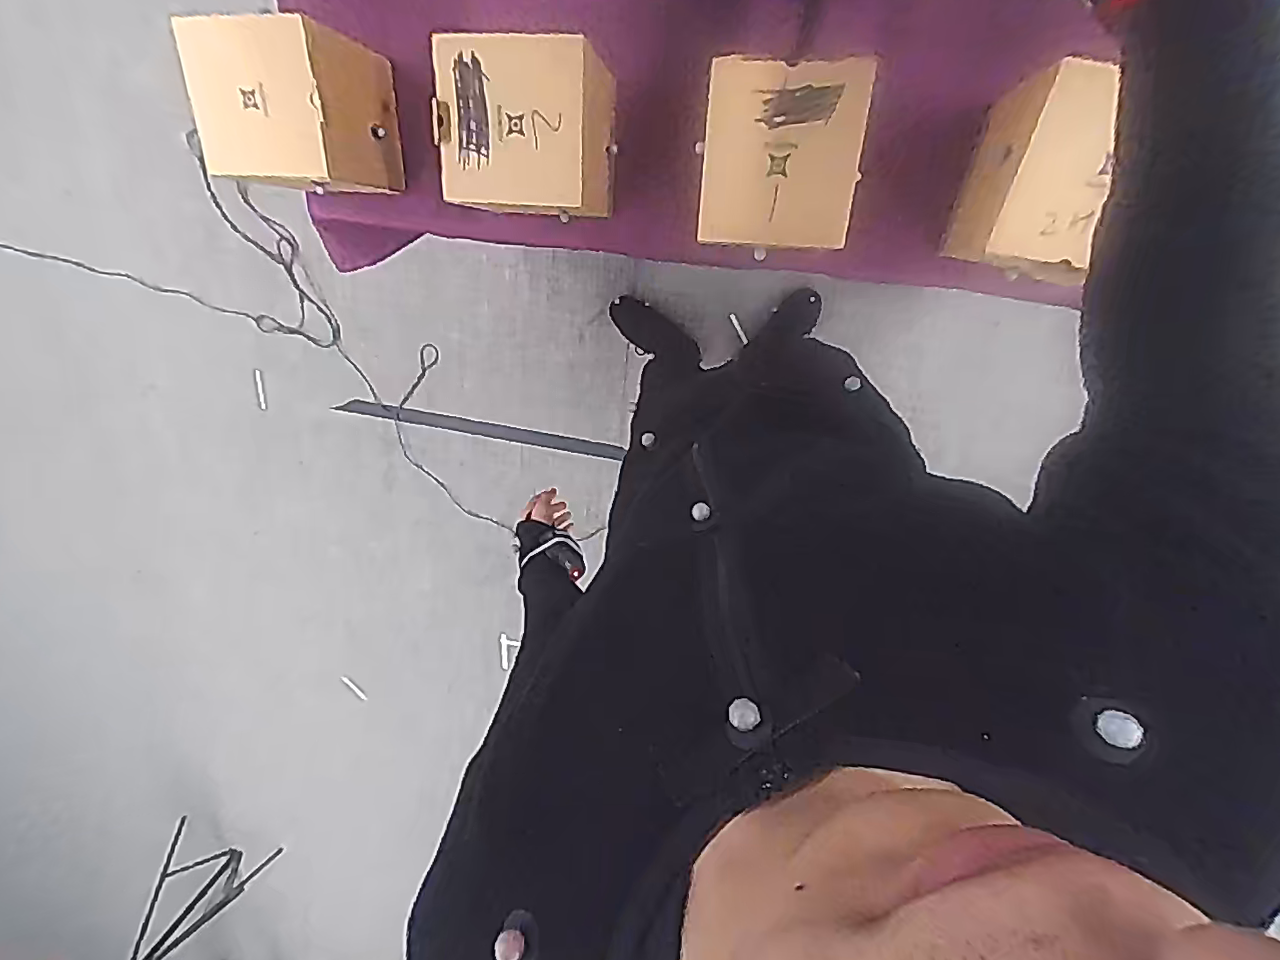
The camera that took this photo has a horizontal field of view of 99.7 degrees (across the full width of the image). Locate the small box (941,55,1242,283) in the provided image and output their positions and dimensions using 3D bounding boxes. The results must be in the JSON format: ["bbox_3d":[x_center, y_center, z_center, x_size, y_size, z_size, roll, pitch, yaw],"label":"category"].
[{"bbox_3d":[0.470,-0.330,0.605,0.168,0.176,0.179,15,114,6],"label":"small box"}]

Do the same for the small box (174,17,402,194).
[{"bbox_3d":[-0.452,-0.484,0.724,0.179,0.176,0.168,5,113,7],"label":"small box"}]

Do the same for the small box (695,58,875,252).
[{"bbox_3d":[0.162,-0.373,0.649,0.168,0.176,0.179,7,114,9],"label":"small box"}]
